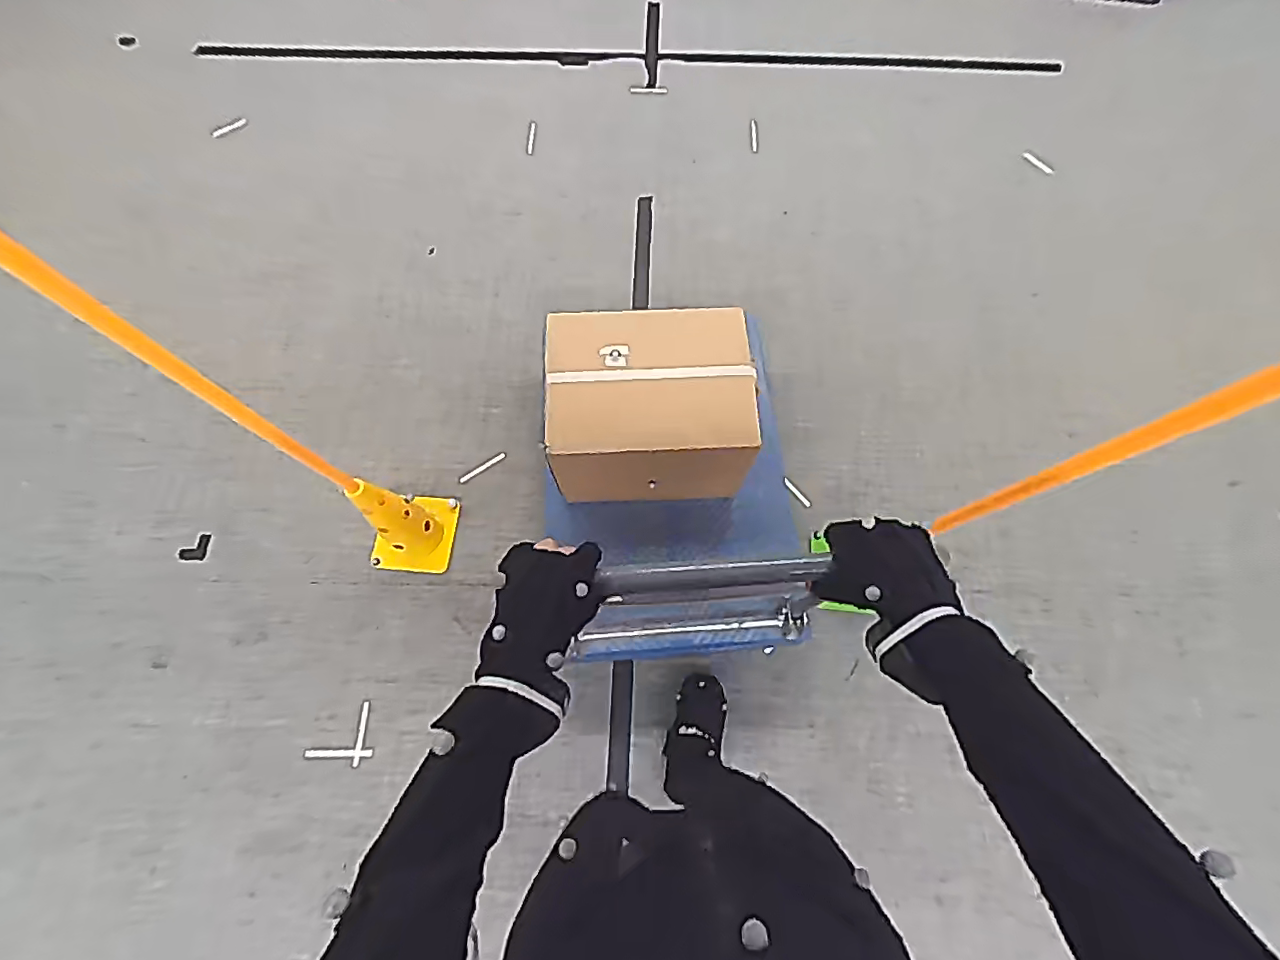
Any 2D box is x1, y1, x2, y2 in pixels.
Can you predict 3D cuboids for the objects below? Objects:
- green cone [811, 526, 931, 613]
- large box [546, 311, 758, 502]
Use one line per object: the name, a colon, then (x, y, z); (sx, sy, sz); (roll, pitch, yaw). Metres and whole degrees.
green cone: (0.547, 0.176, 1.237); (0.202, 0.368, 0.200); (6, 69, 0)
large box: (0.018, -0.145, 1.200); (0.408, 0.320, 0.320); (-3, 70, 0)
